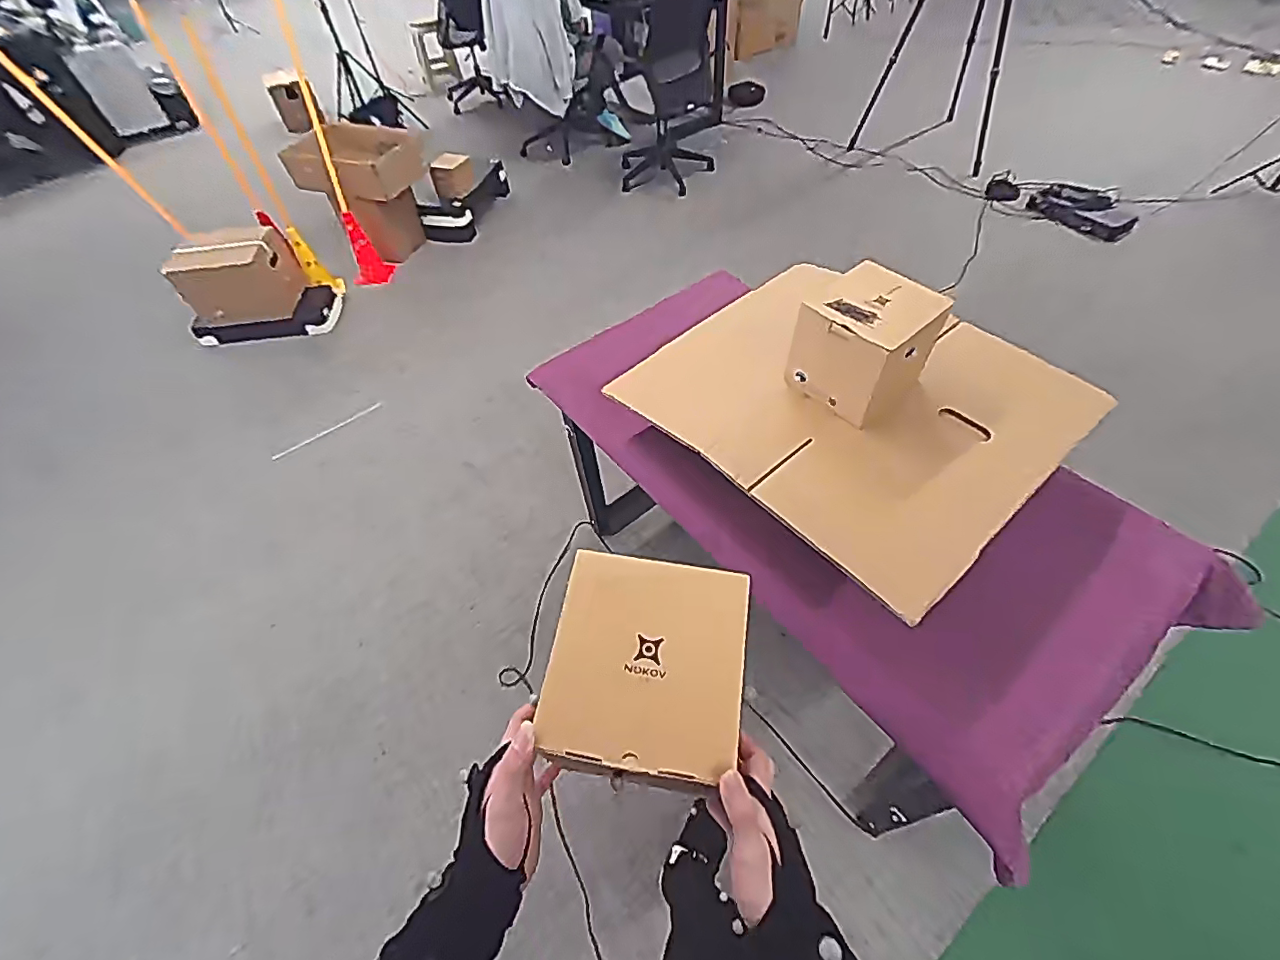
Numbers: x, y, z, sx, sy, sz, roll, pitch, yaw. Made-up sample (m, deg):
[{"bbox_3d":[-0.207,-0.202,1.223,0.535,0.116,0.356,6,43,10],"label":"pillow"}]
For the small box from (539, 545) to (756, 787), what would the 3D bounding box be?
[{"bbox_3d":[0.012,0.187,0.530,0.168,0.176,0.179,8,60,5],"label":"small box"}]

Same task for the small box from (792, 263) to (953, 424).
[{"bbox_3d":[0.376,-0.226,0.910,0.179,0.176,0.168,-36,60,-21],"label":"small box"}]
